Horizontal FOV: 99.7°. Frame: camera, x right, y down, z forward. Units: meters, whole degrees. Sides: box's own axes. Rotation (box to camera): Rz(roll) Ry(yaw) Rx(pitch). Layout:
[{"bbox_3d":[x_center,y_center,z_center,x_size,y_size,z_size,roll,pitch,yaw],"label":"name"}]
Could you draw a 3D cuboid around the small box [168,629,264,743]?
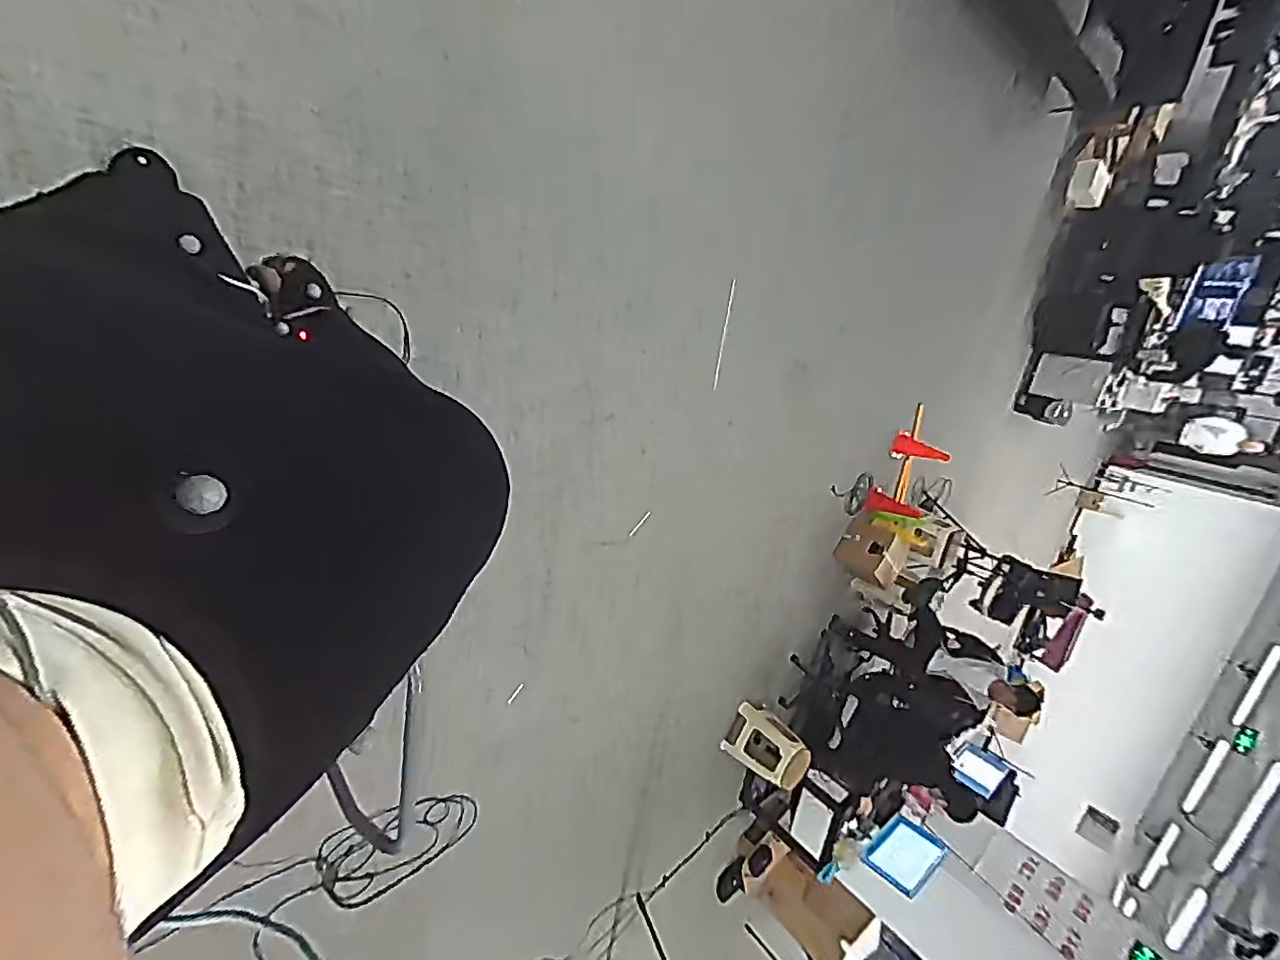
[{"bbox_3d":[-1.002,0.469,1.274,0.168,0.176,0.179,-1,110,-42],"label":"small box"}]
